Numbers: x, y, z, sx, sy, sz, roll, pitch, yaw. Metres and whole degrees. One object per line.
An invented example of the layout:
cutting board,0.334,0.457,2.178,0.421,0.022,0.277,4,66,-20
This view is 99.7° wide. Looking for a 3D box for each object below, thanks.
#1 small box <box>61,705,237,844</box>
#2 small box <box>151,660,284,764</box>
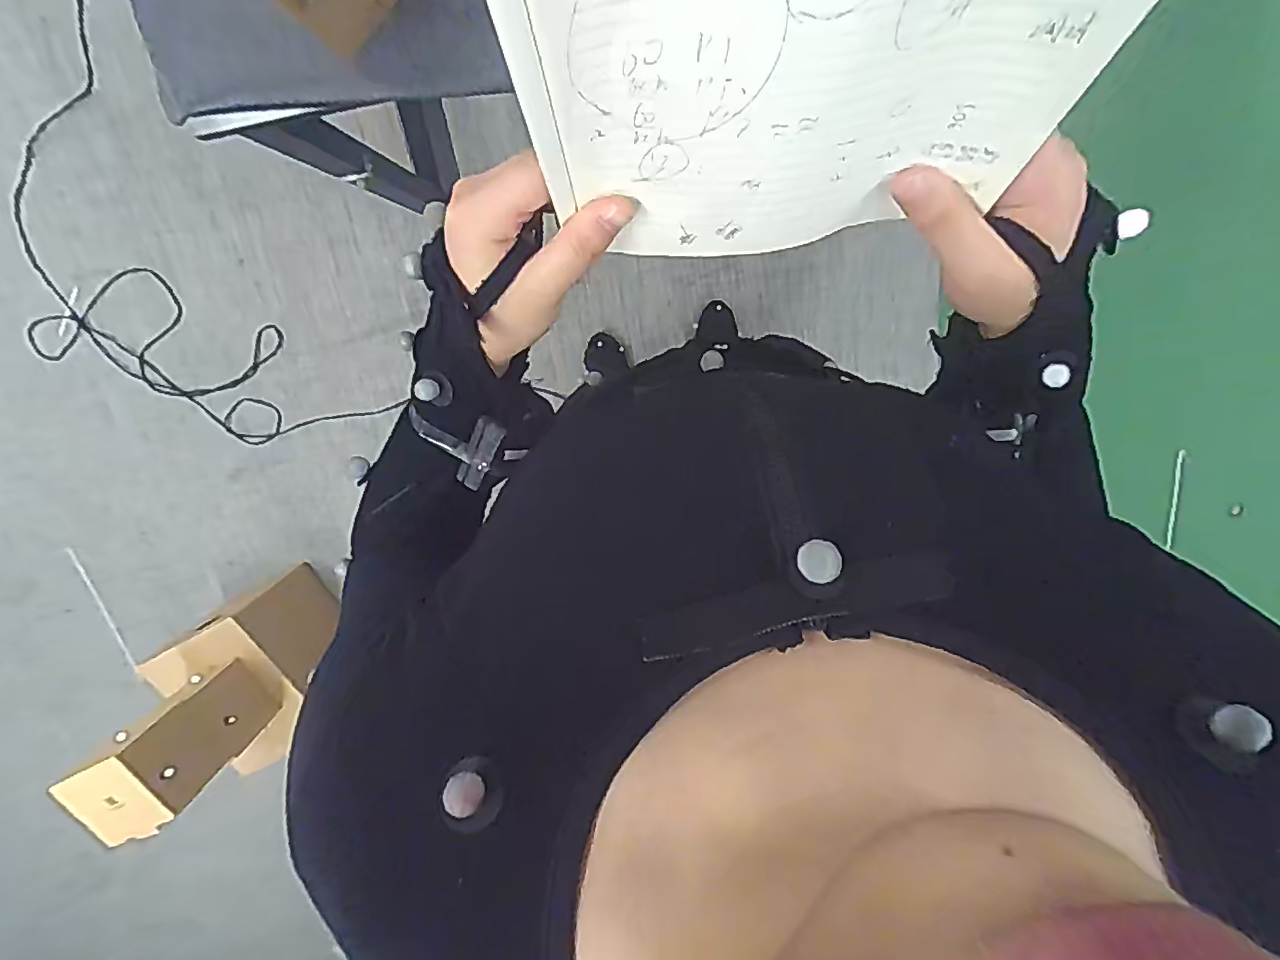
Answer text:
small box,-1.017,0.606,1.139,0.168,0.176,0.179,-27,106,7
small box,-1.011,0.571,1.298,0.168,0.176,0.179,-27,105,7
